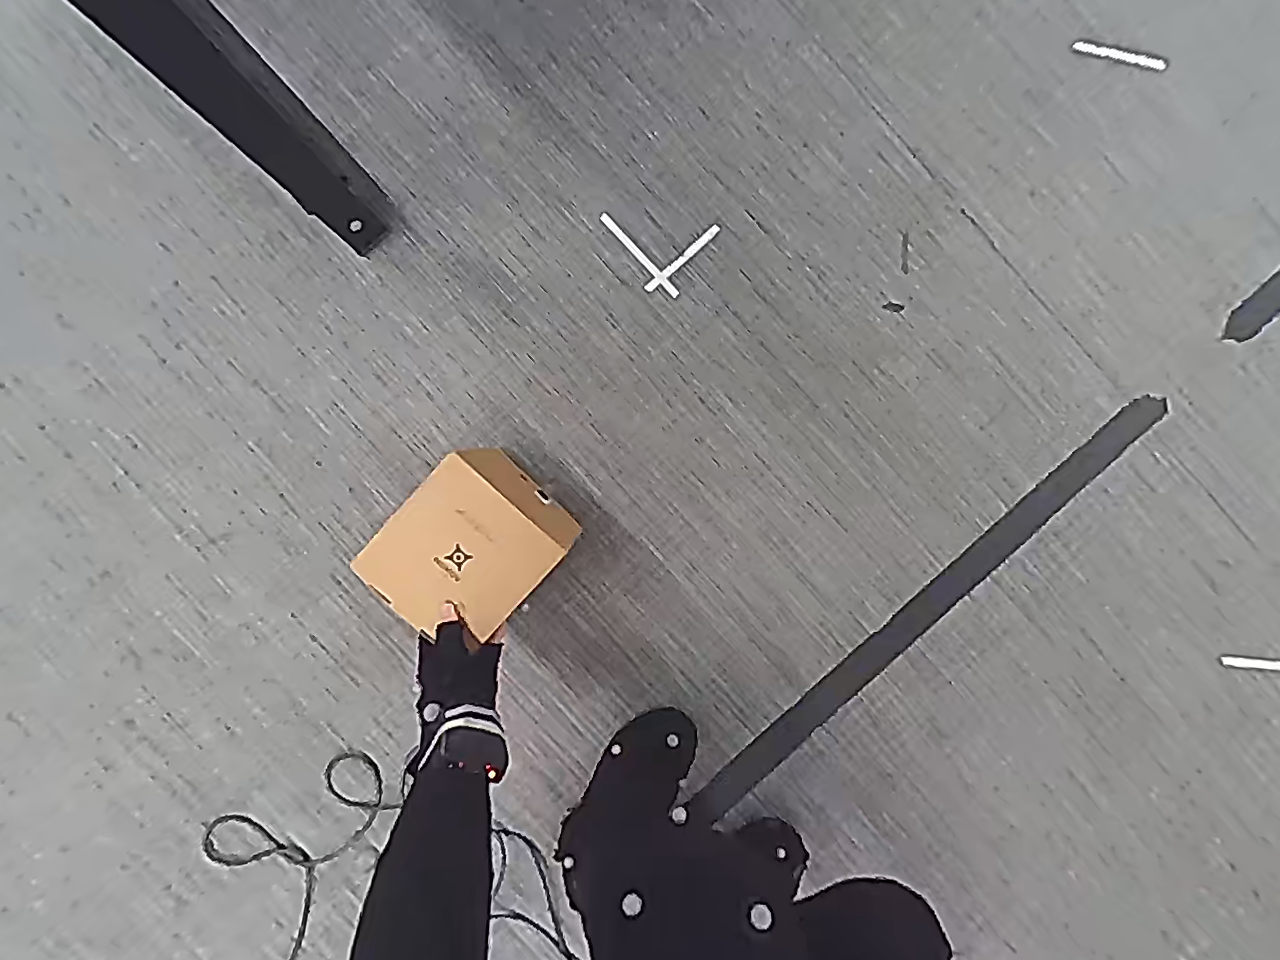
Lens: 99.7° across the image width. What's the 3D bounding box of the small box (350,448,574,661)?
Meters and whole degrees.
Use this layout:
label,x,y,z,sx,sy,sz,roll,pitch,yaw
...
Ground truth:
label,x,y,z,sx,sy,sz,roll,pitch,yaw
small box,-0.198,0.077,0.662,0.168,0.176,0.179,41,94,-3
